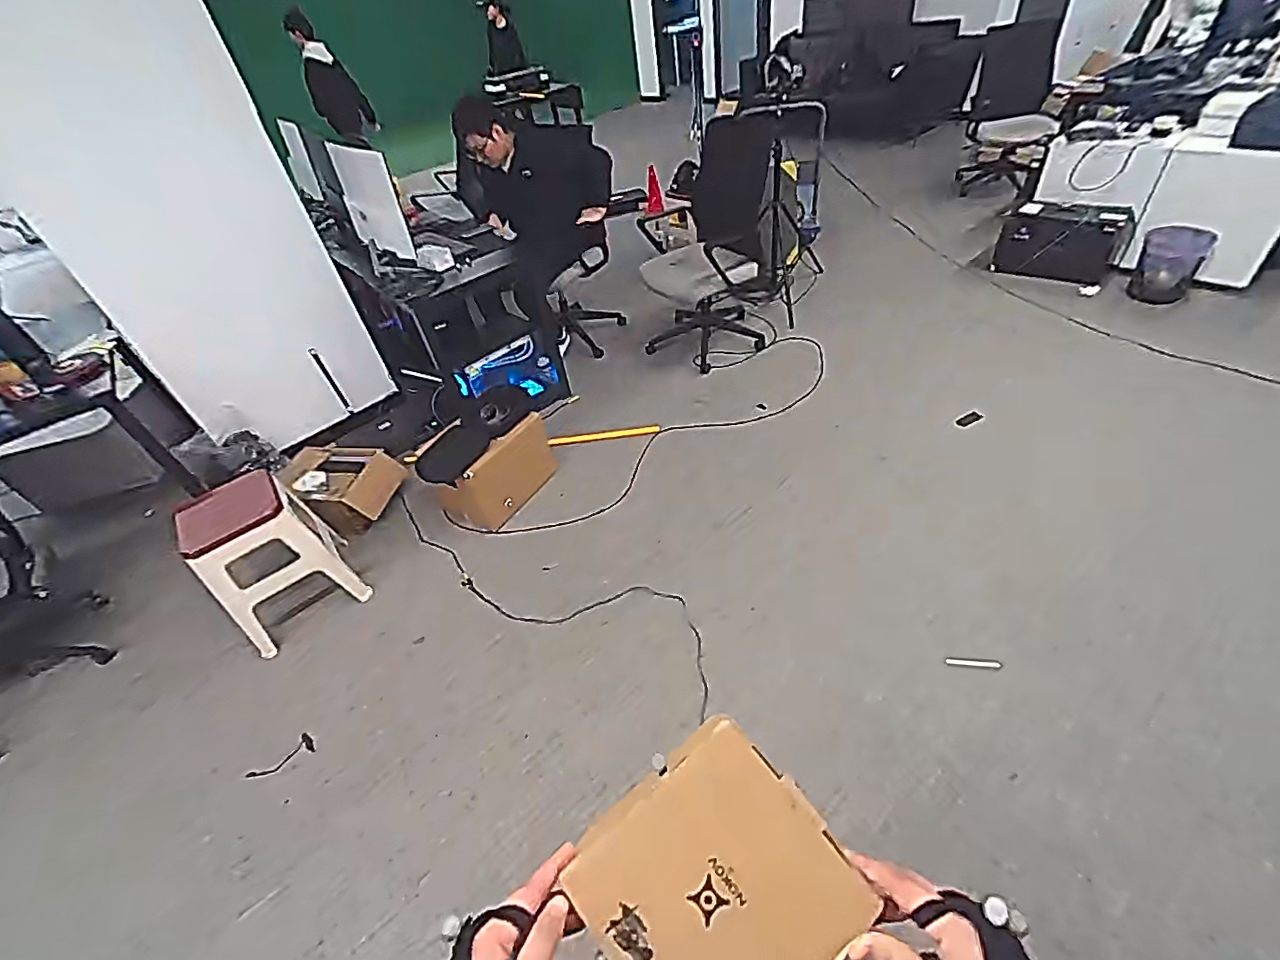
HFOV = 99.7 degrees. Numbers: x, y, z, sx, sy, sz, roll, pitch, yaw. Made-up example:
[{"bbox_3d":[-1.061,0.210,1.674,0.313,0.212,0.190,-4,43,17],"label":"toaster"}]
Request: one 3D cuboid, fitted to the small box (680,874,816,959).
[{"bbox_3d":[0.186,0.850,0.946,0.168,0.176,0.179,29,54,33],"label":"small box"}]
